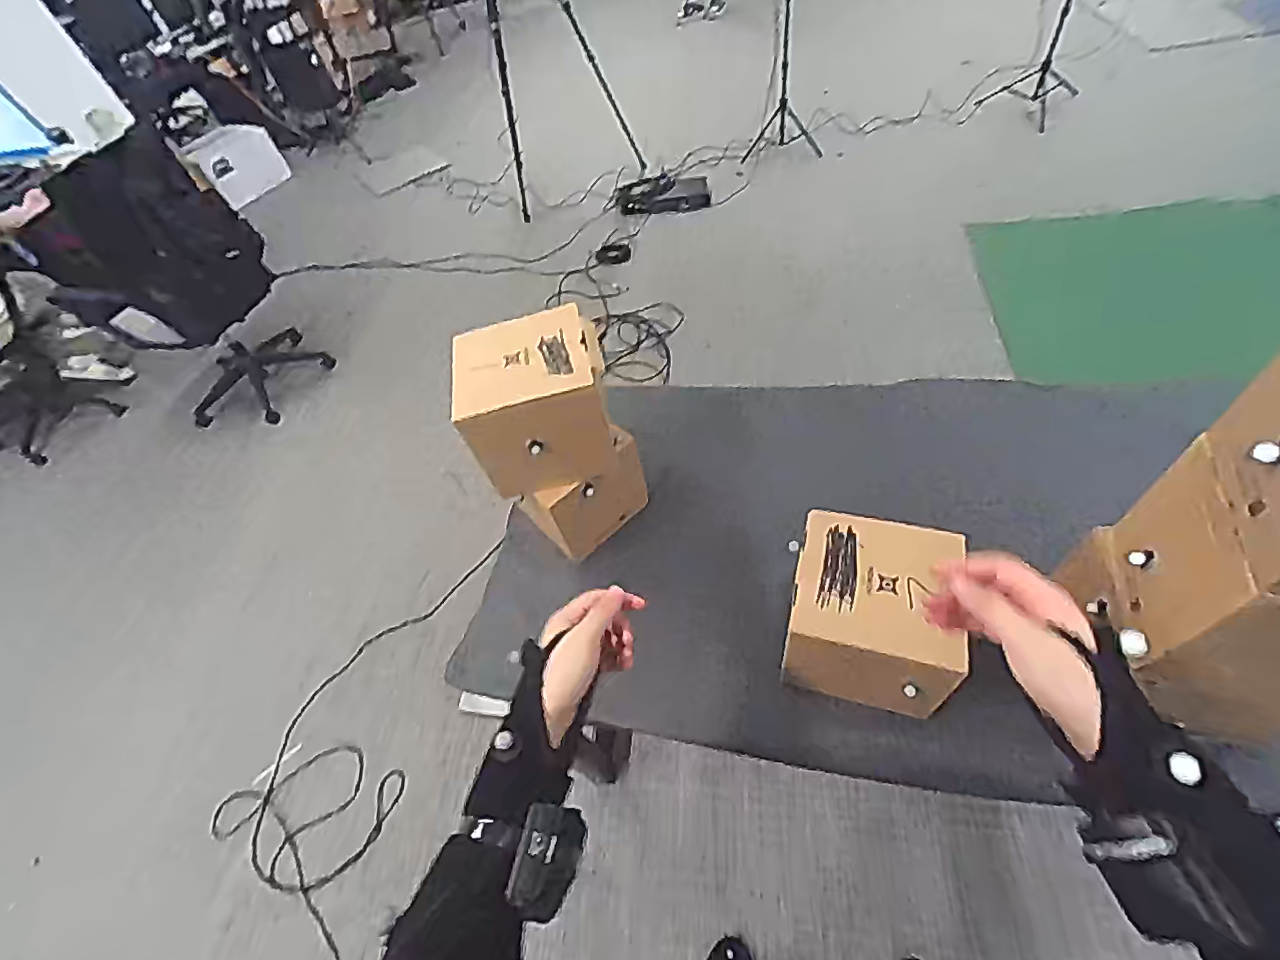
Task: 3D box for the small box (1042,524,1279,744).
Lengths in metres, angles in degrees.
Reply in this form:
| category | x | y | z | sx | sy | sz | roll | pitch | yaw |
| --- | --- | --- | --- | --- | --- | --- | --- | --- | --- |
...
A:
| category | x | y | z | sx | sy | sz | roll | pitch | yaw |
| --- | --- | --- | --- | --- | --- | --- | --- | --- | --- |
| small box | 0.581 | 0.168 | 0.592 | 0.168 | 0.176 | 0.179 | 0 | 53 | 14 |

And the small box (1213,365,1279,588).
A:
| category | x | y | z | sx | sy | sz | roll | pitch | yaw |
| --- | --- | --- | --- | --- | --- | --- | --- | --- | --- |
| small box | 0.526 | -0.021 | 0.330 | 0.179 | 0.176 | 0.168 | 11 | 55 | 21 |

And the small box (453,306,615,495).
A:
| category | x | y | z | sx | sy | sz | roll | pitch | yaw |
| --- | --- | --- | --- | --- | --- | --- | --- | --- | --- |
| small box | -0.137 | -0.104 | 0.743 | 0.179 | 0.176 | 0.168 | -15 | 53 | 1 |

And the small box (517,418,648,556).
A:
| category | x | y | z | sx | sy | sz | roll | pitch | yaw |
| --- | --- | --- | --- | --- | --- | --- | --- | --- | --- |
| small box | -0.109 | -0.010 | 0.875 | 0.168 | 0.176 | 0.179 | -40 | 56 | -18 |

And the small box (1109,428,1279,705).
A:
| category | x | y | z | sx | sy | sz | roll | pitch | yaw |
| --- | --- | --- | --- | --- | --- | --- | --- | --- | --- |
| small box | 0.551 | 0.081 | 0.458 | 0.179 | 0.176 | 0.168 | 9 | 55 | 20 |
